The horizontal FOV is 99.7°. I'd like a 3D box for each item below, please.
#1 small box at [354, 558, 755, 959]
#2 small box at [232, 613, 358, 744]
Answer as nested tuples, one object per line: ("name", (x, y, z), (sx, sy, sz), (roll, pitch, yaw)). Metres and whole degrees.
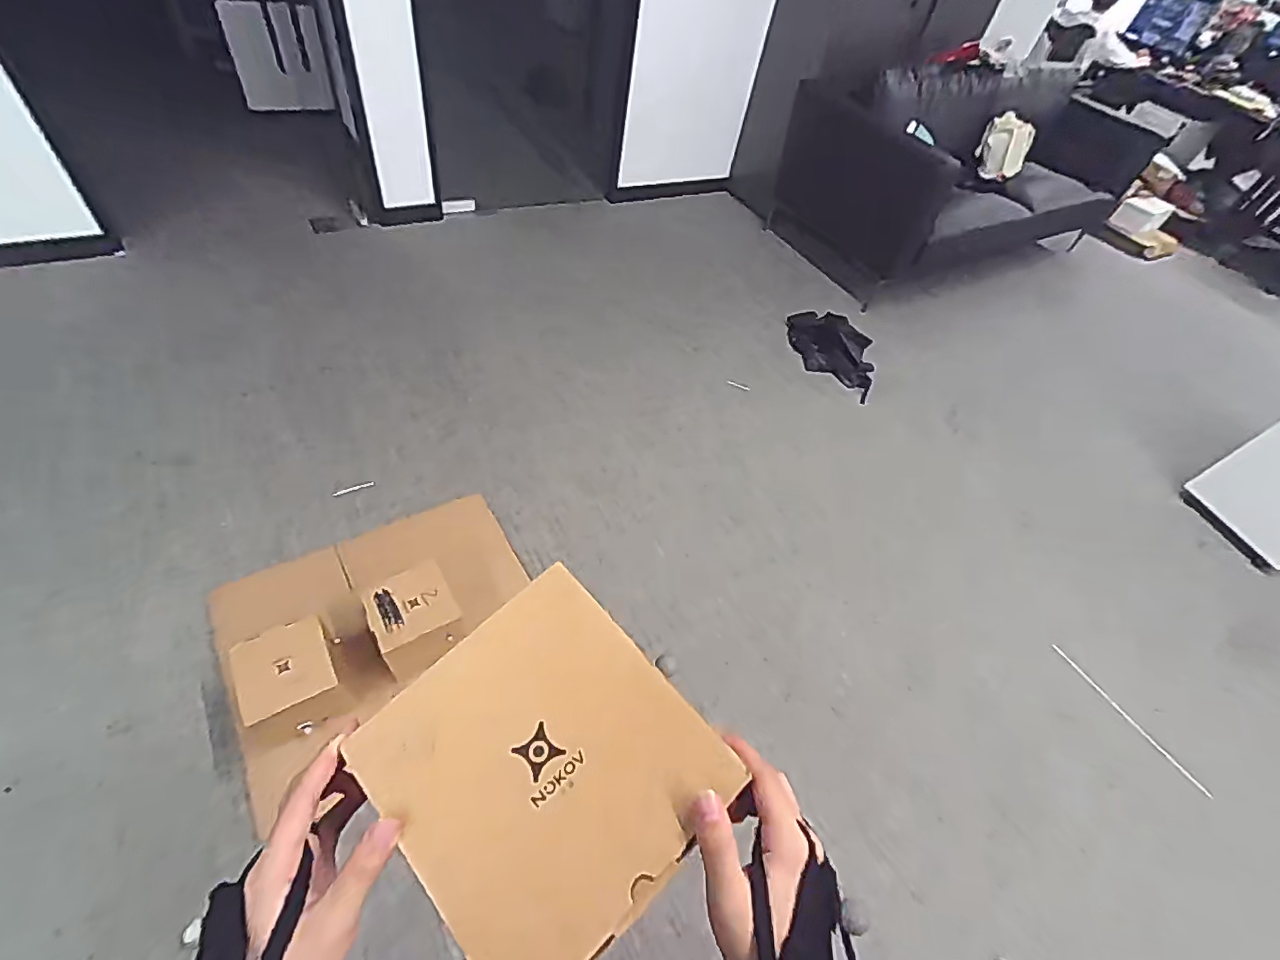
("small box", (-0.051, 0.192, 0.378), (0.168, 0.176, 0.179), (-39, 68, -19))
("small box", (-0.720, 0.420, 1.139), (0.168, 0.176, 0.179), (-22, 60, -26))
